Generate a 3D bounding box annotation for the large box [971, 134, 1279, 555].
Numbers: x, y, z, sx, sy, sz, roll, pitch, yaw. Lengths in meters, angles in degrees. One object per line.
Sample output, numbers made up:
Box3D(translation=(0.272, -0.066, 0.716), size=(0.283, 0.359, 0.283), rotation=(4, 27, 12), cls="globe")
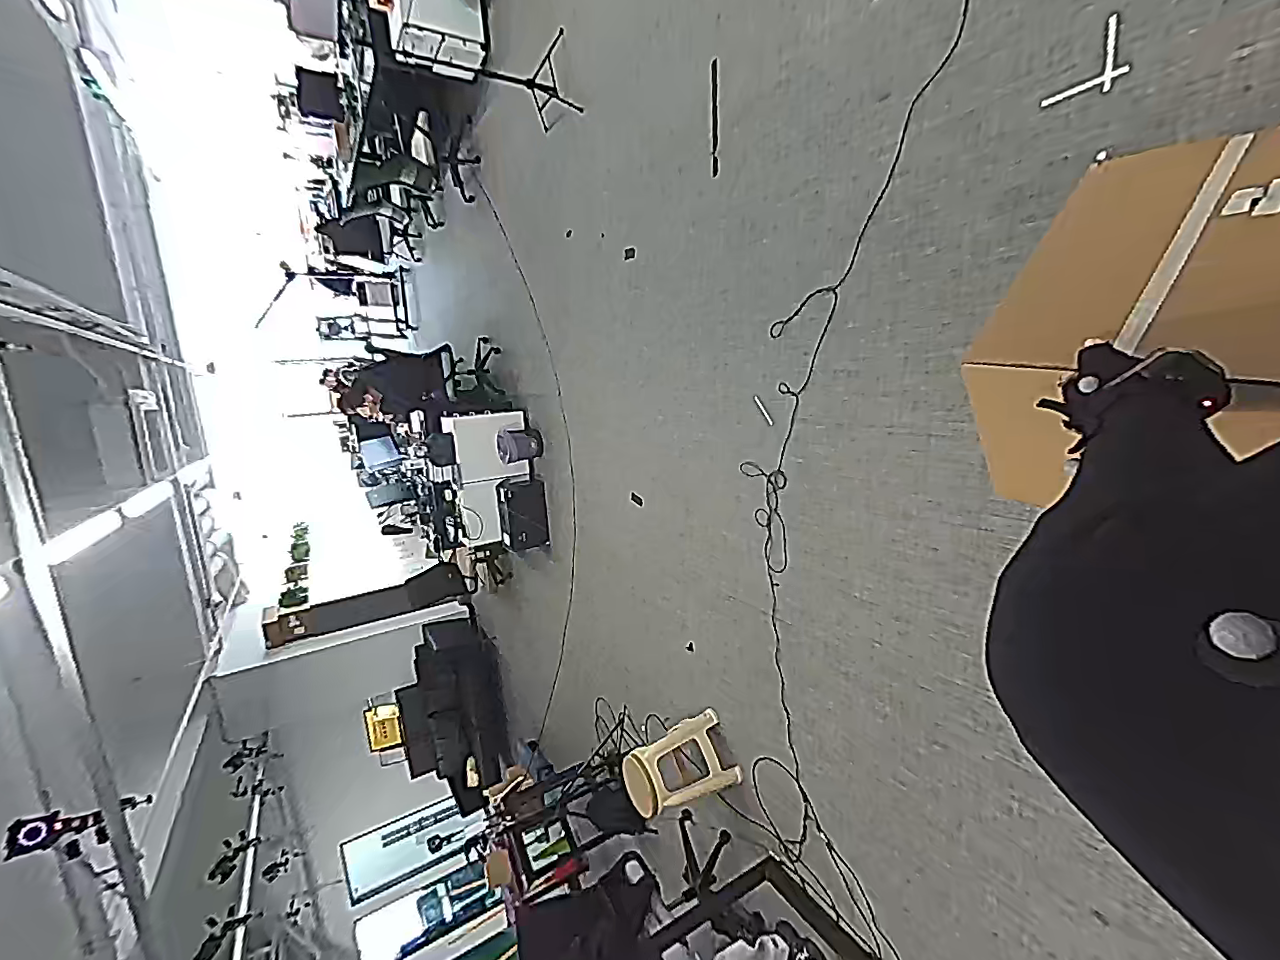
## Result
Box3D(translation=(0.715, -0.177, 0.717), size=(0.320, 0.408, 0.320), rotation=(22, 160, 51), cls="large box")
